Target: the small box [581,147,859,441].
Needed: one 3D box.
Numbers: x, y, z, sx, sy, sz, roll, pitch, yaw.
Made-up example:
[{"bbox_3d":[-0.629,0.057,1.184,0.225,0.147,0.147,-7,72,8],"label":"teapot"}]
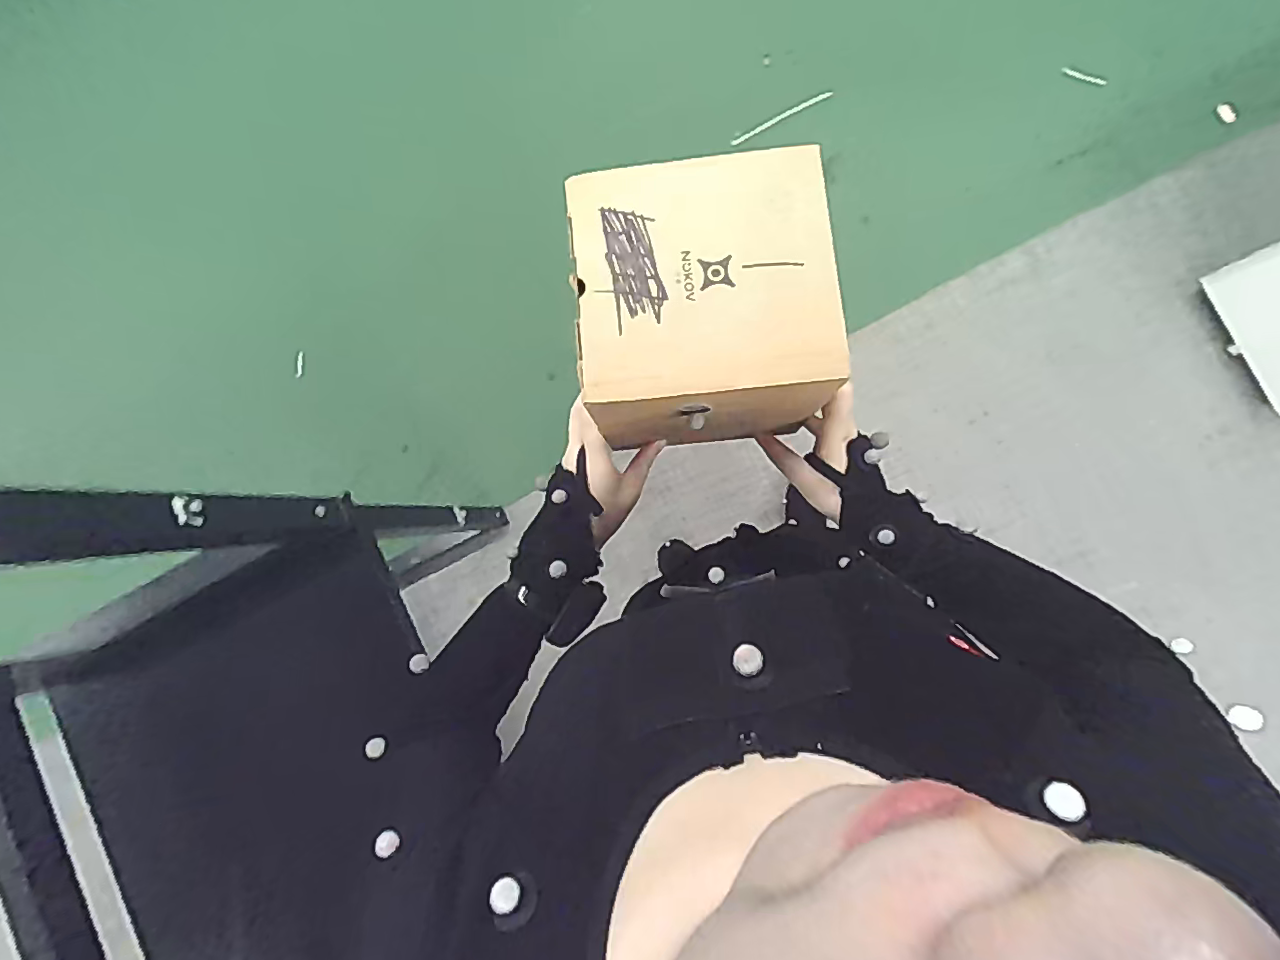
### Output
[{"bbox_3d":[0.055,-0.130,0.441,0.179,0.176,0.168,-4,83,2],"label":"small box"}]
